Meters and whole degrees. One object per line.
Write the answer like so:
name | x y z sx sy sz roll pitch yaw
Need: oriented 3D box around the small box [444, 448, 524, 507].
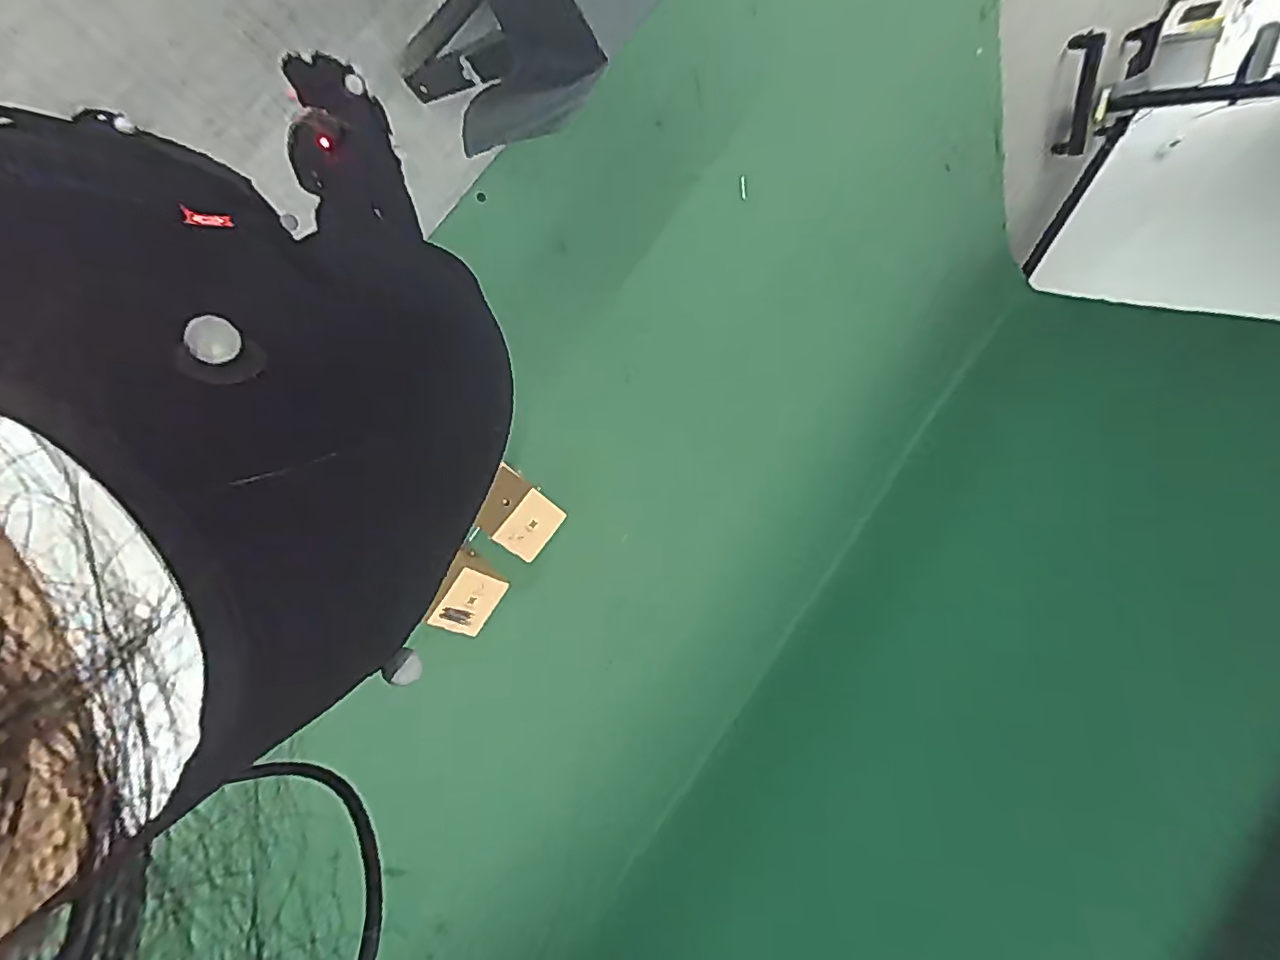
small box | -0.457 0.022 1.636 0.168 0.176 0.179 -51 136 -10

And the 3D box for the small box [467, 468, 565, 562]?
small box | -0.353 0.093 1.530 0.179 0.176 0.168 -52 136 -9
